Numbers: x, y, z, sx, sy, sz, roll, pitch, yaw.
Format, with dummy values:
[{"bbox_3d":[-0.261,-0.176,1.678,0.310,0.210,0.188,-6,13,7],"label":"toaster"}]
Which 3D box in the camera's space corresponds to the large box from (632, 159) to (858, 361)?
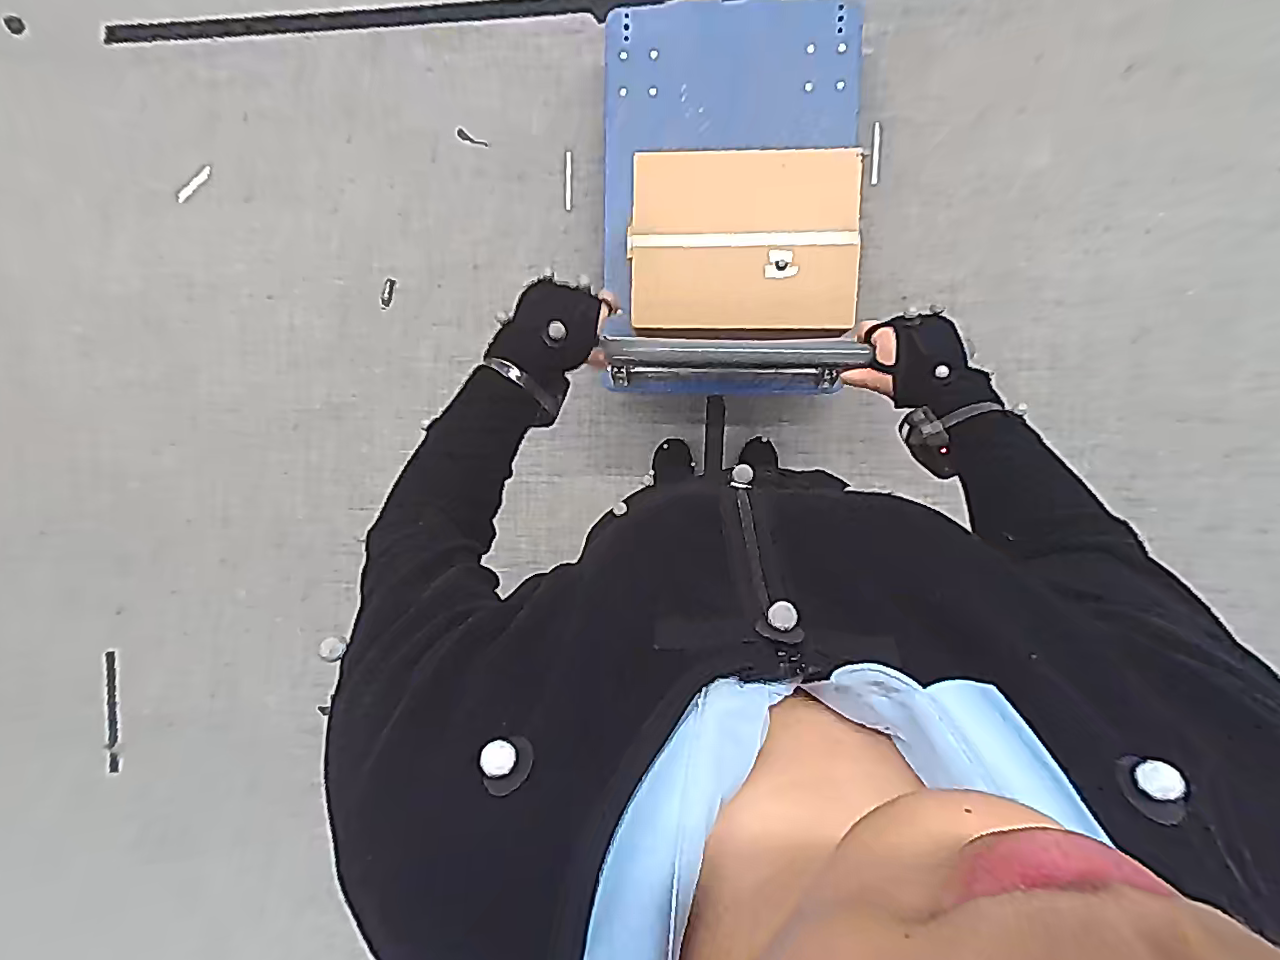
[{"bbox_3d":[0.192,-0.426,1.122,0.408,0.320,0.320,1,95,3],"label":"large box"}]
